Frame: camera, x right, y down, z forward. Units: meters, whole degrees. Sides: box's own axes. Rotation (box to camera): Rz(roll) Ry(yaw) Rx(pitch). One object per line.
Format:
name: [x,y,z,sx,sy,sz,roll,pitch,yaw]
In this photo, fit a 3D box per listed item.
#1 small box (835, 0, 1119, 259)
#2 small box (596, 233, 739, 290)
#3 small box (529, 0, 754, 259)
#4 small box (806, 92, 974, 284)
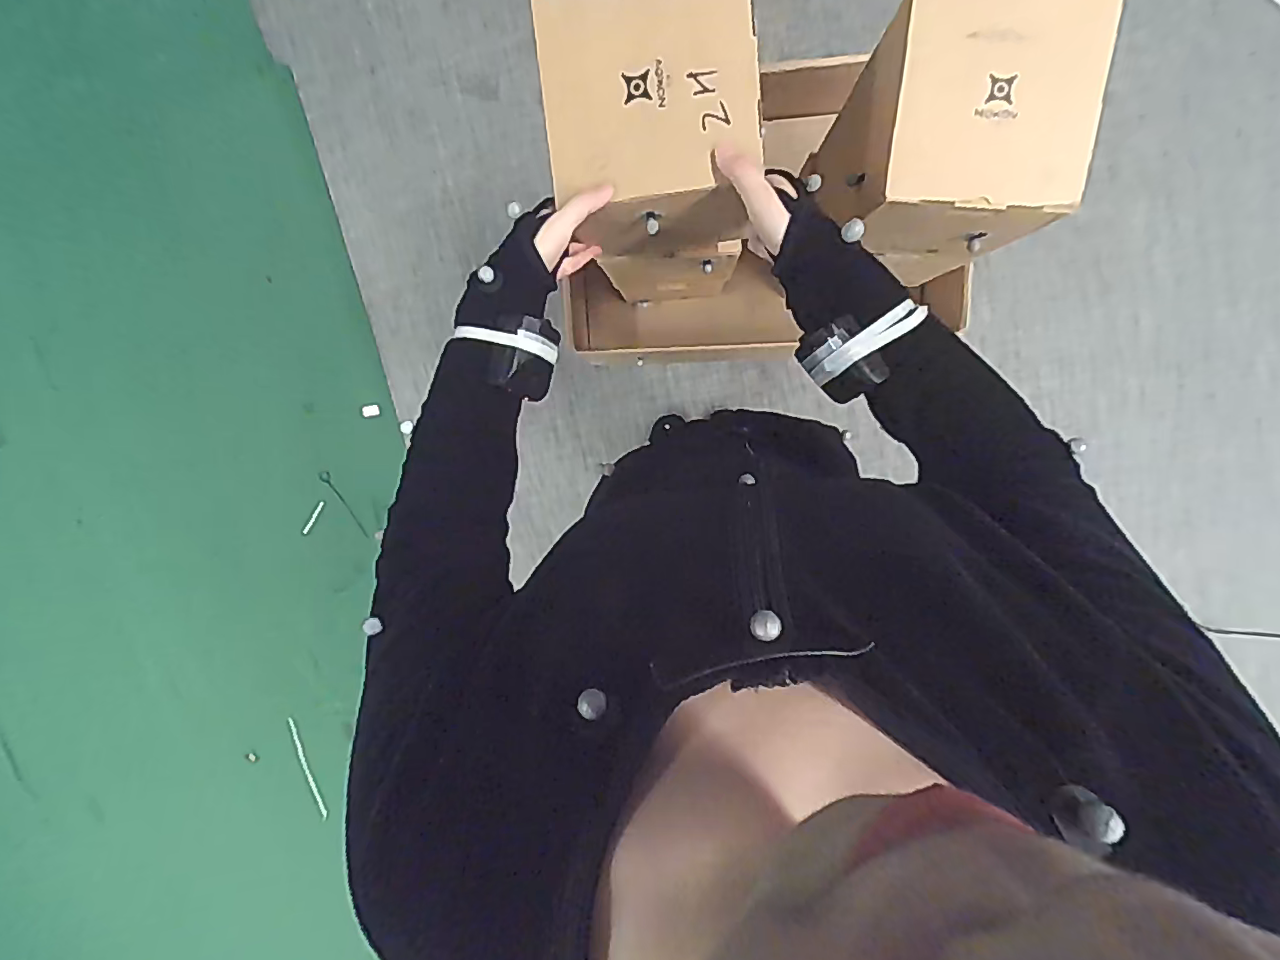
small box: [0.301,-0.328,0.528,0.168,0.176,0.179,6,99,4]
small box: [0.035,-0.356,0.718,0.179,0.176,0.168,-3,99,5]
small box: [0.012,-0.323,0.516,0.179,0.176,0.168,-5,98,8]
small box: [0.317,-0.355,0.689,0.168,0.176,0.179,5,100,4]
